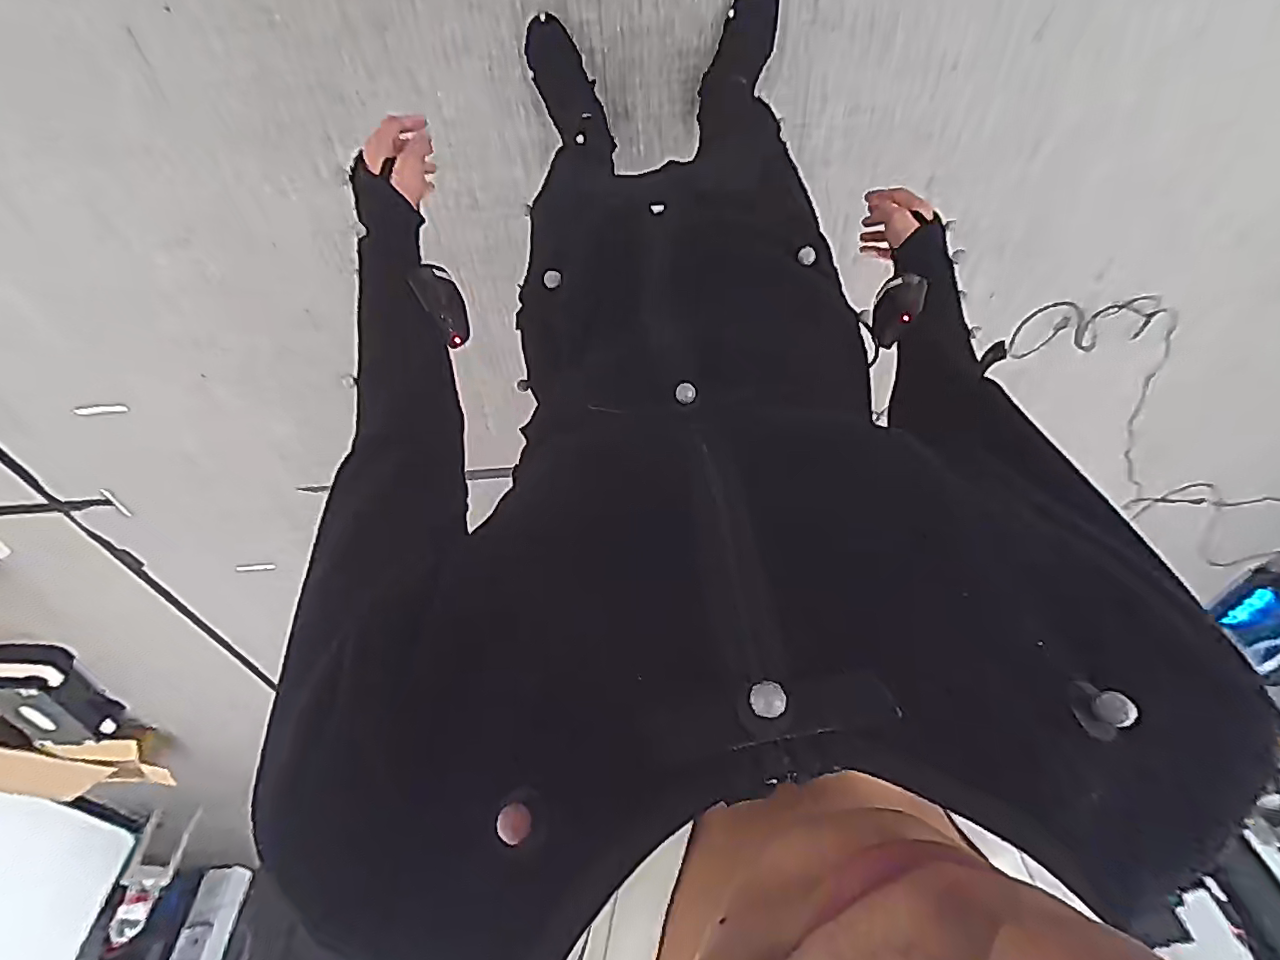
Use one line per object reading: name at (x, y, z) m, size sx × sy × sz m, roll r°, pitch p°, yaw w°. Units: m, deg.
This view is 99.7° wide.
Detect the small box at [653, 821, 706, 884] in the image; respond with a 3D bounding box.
small box at (0.148, 1.399, 2.034) m, size 0.179 × 0.176 × 0.168 m, roll -6°, pitch 135°, yaw 1°
